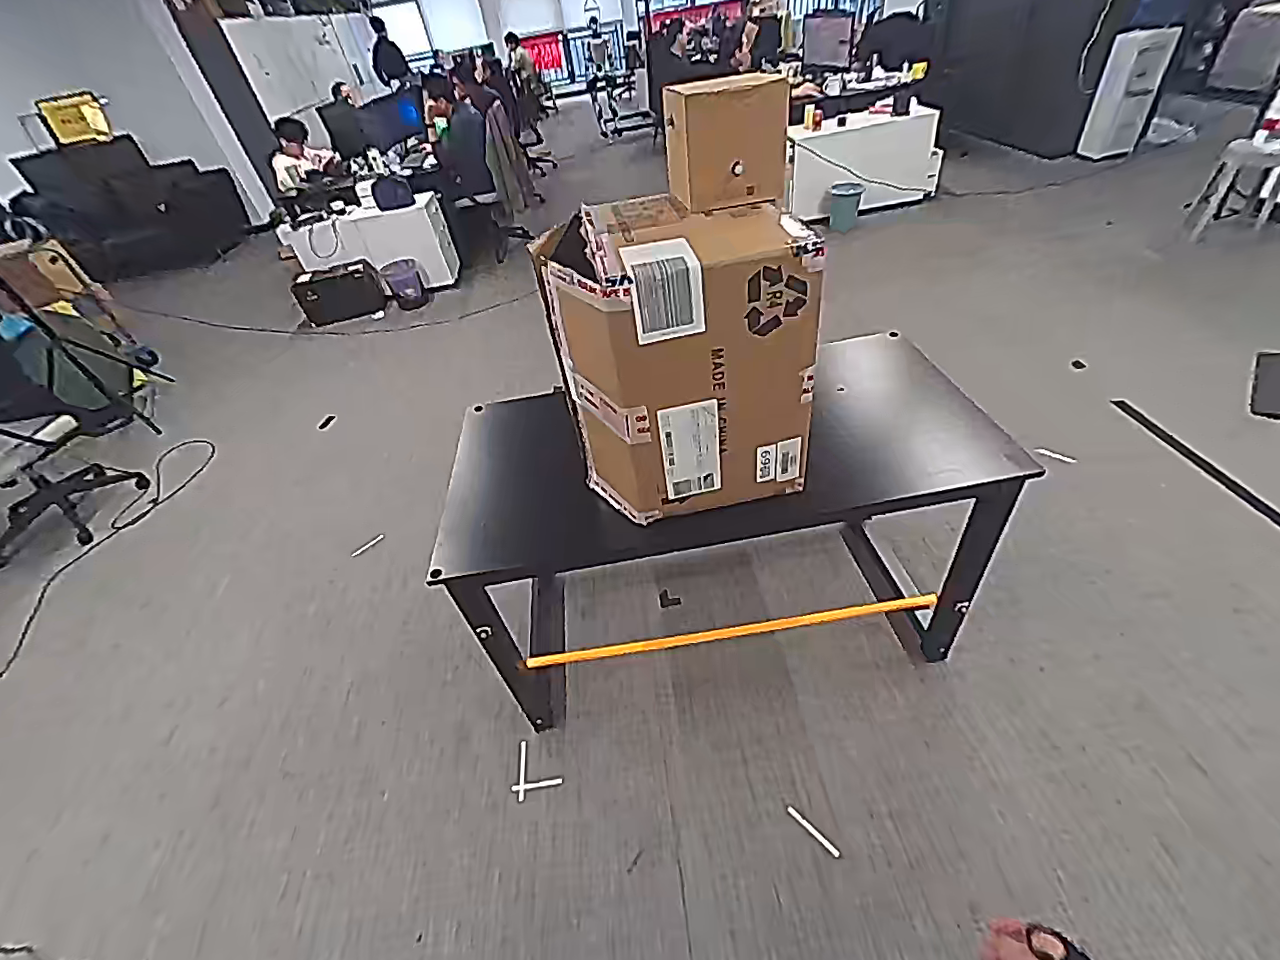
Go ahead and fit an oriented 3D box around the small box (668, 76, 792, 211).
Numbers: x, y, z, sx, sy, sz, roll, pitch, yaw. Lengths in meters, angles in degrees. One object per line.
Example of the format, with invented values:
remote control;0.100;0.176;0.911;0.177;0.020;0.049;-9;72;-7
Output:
small box;0.148;-0.578;0.931;0.168;0.176;0.179;-11;40;-3
